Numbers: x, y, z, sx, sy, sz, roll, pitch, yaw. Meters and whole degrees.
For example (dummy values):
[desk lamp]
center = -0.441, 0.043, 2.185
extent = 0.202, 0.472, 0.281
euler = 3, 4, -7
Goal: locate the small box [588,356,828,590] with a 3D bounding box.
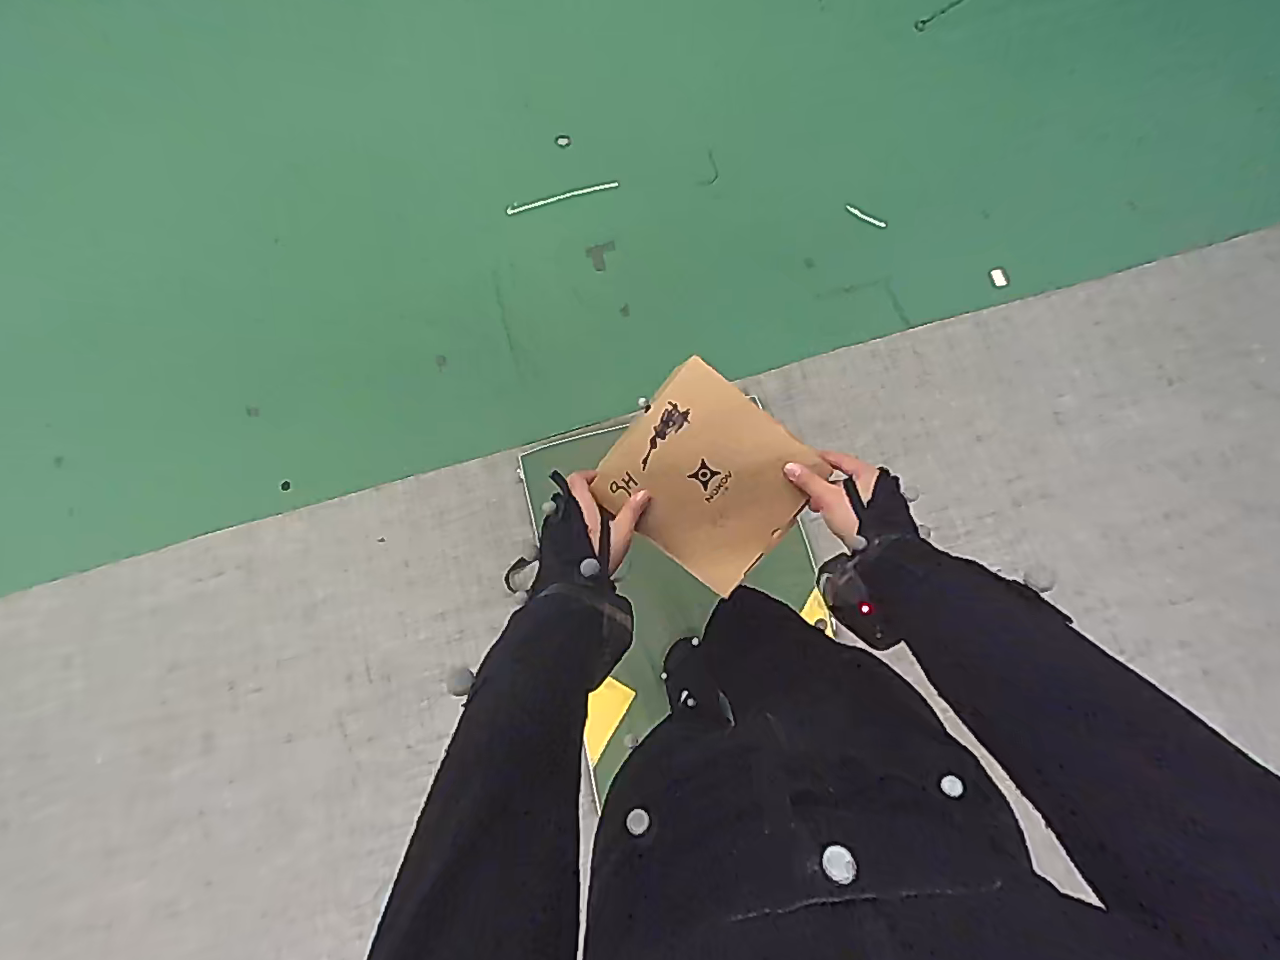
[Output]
[small box]
center = 0.065, -0.016, 0.598
extent = 0.179, 0.176, 0.168
euler = 39, 95, -6
